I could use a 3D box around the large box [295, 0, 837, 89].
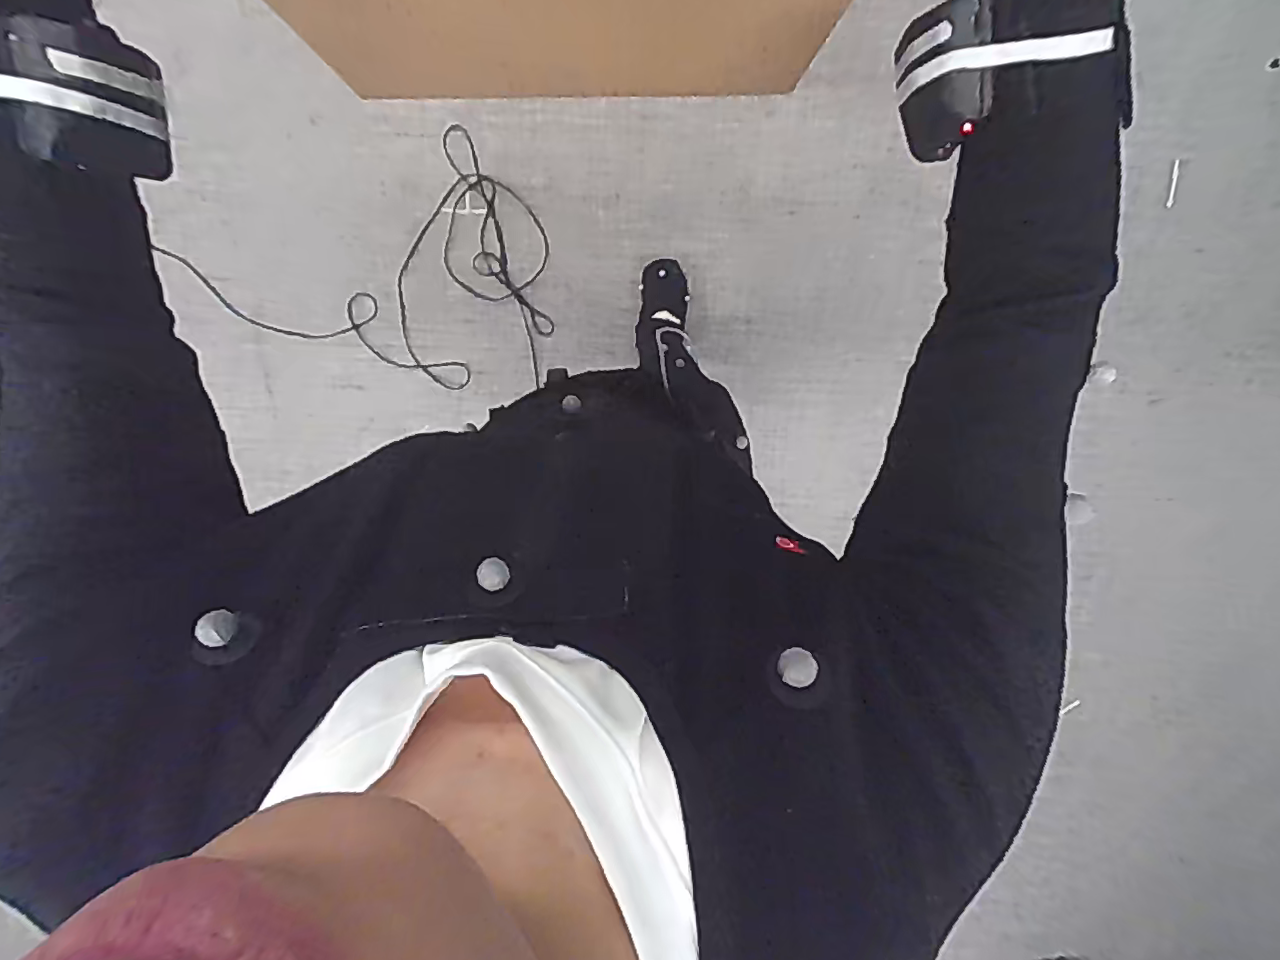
[{"bbox_3d":[-0.052,-0.484,0.325,0.408,0.320,0.320,-3,104,-3],"label":"large box"}]
